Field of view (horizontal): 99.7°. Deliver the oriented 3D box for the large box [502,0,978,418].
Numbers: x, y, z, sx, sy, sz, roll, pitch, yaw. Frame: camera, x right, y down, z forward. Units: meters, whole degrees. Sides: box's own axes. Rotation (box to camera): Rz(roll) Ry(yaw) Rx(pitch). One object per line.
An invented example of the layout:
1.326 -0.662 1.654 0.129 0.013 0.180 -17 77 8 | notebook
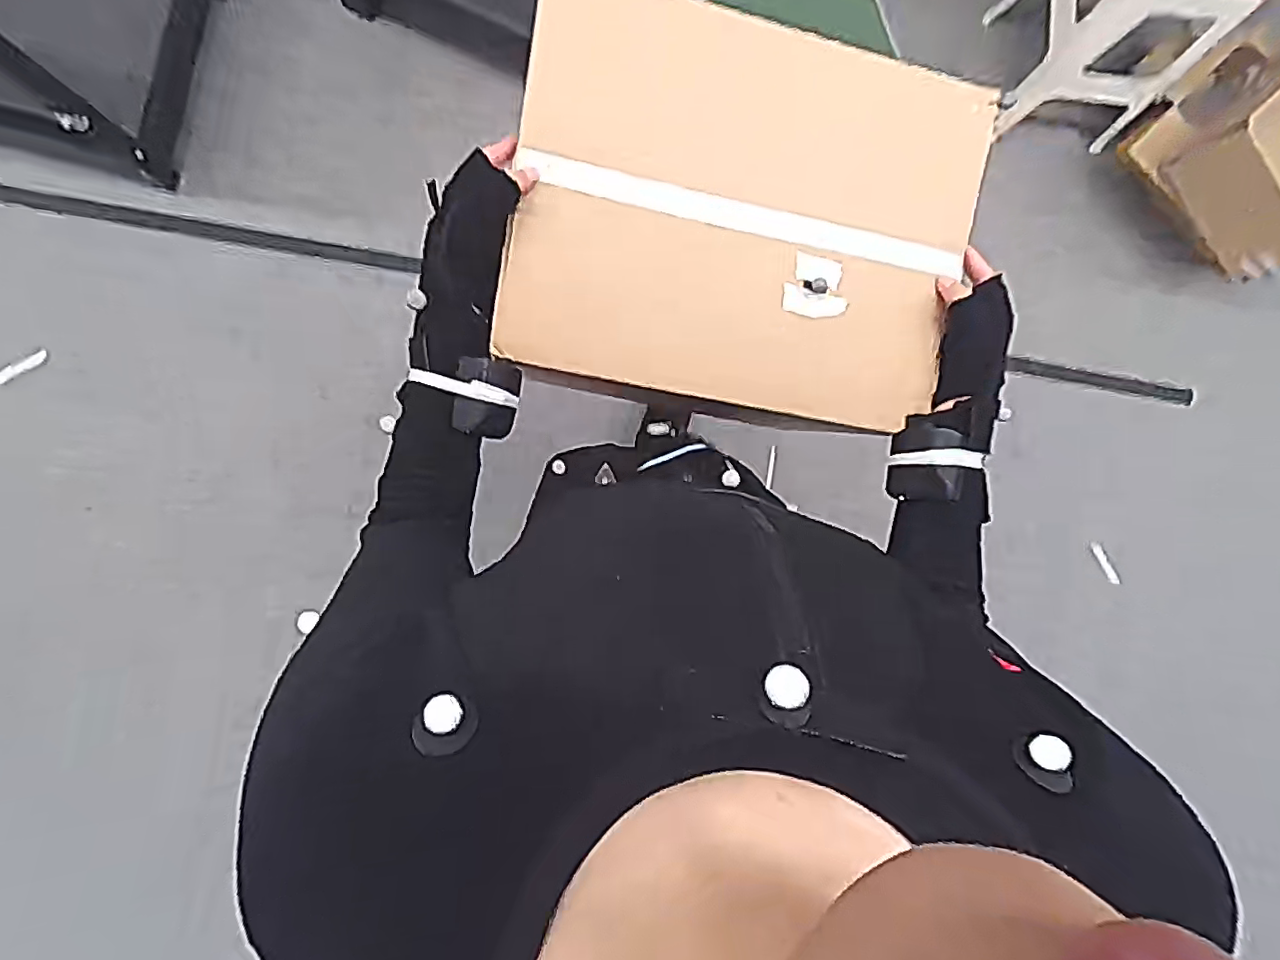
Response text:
0.073 -0.254 0.625 0.408 0.320 0.320 9 97 -10 | large box
